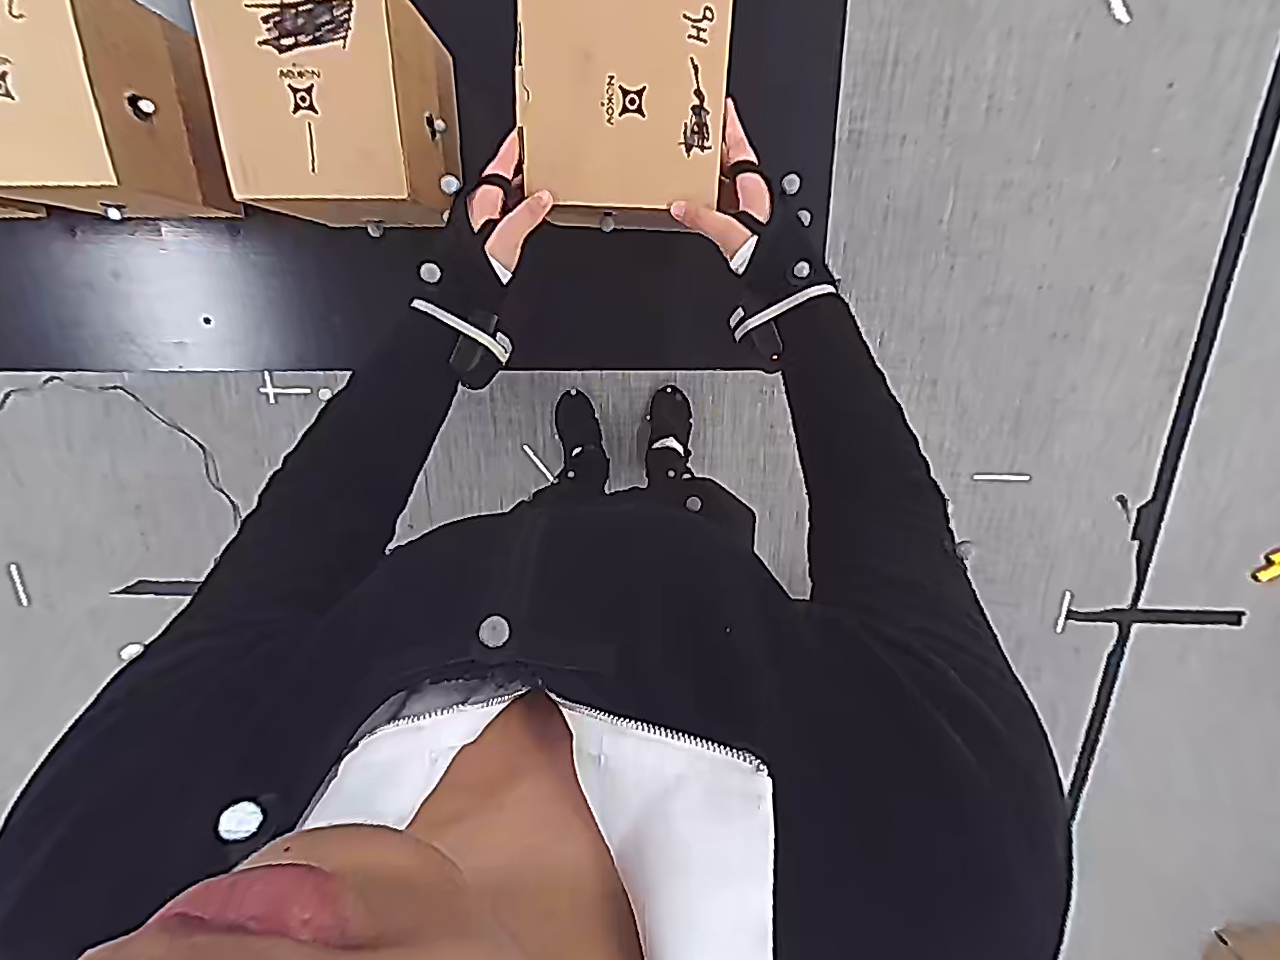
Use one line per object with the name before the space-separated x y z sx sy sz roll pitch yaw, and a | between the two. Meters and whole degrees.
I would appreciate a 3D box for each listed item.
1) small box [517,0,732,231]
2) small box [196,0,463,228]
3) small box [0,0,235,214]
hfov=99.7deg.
small box | -0.014 -0.347 0.533 0.179 0.176 0.168 3 109 1
small box | -0.290 -0.364 0.546 0.168 0.176 0.179 1 108 1
small box | -0.555 -0.375 0.544 0.168 0.176 0.179 0 107 0
